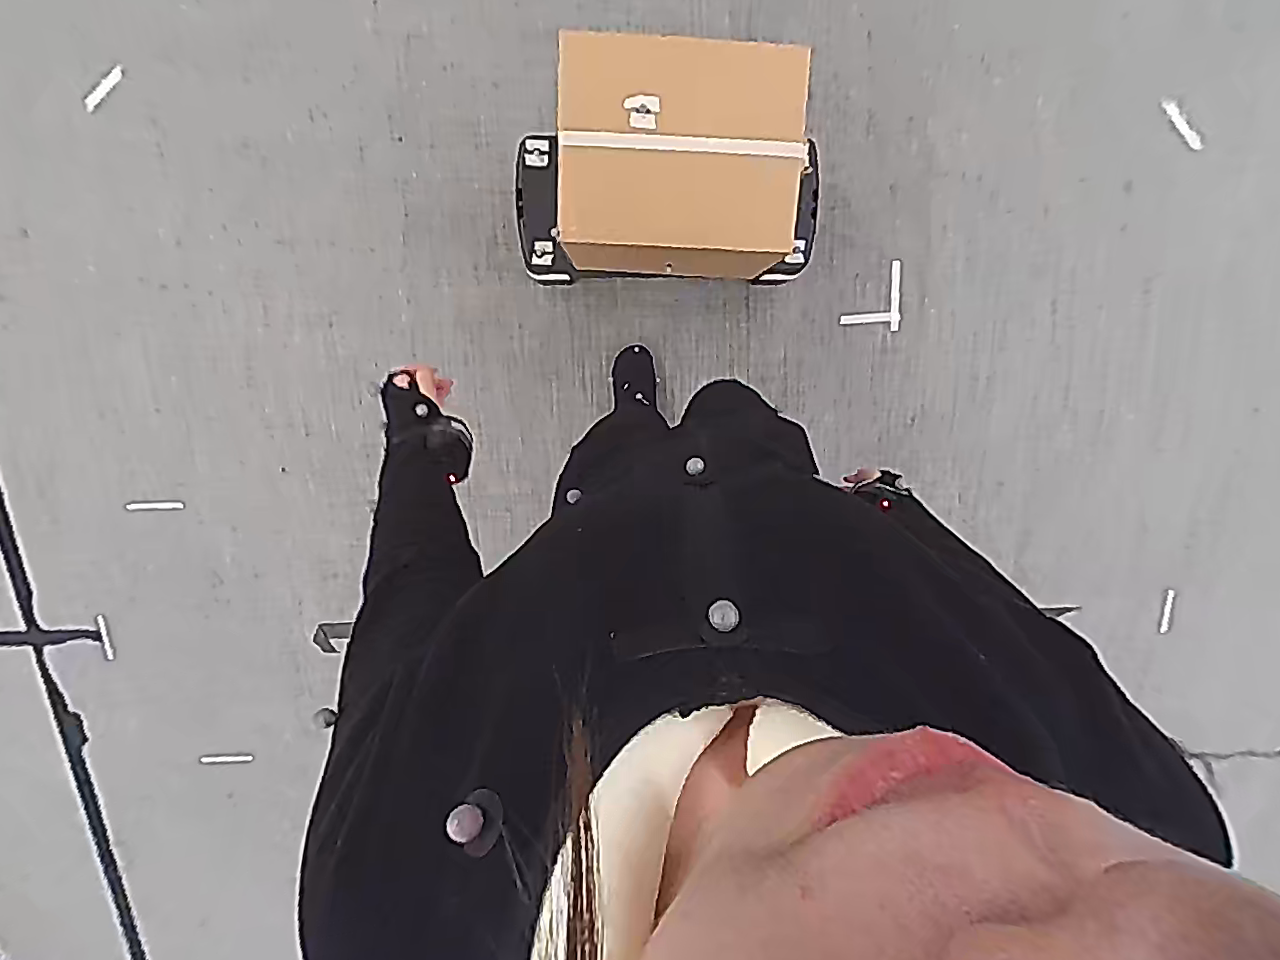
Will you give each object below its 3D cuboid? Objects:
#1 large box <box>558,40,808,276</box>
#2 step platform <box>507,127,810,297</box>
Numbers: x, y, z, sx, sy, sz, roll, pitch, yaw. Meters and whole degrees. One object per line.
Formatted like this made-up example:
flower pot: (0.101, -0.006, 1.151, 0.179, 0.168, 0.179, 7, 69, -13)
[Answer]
large box: (0.067, -0.571, 1.026, 0.408, 0.320, 0.320, 2, 102, -1)
step platform: (0.041, -0.611, 1.261, 0.684, 0.204, 0.286, 4, 102, -1)
